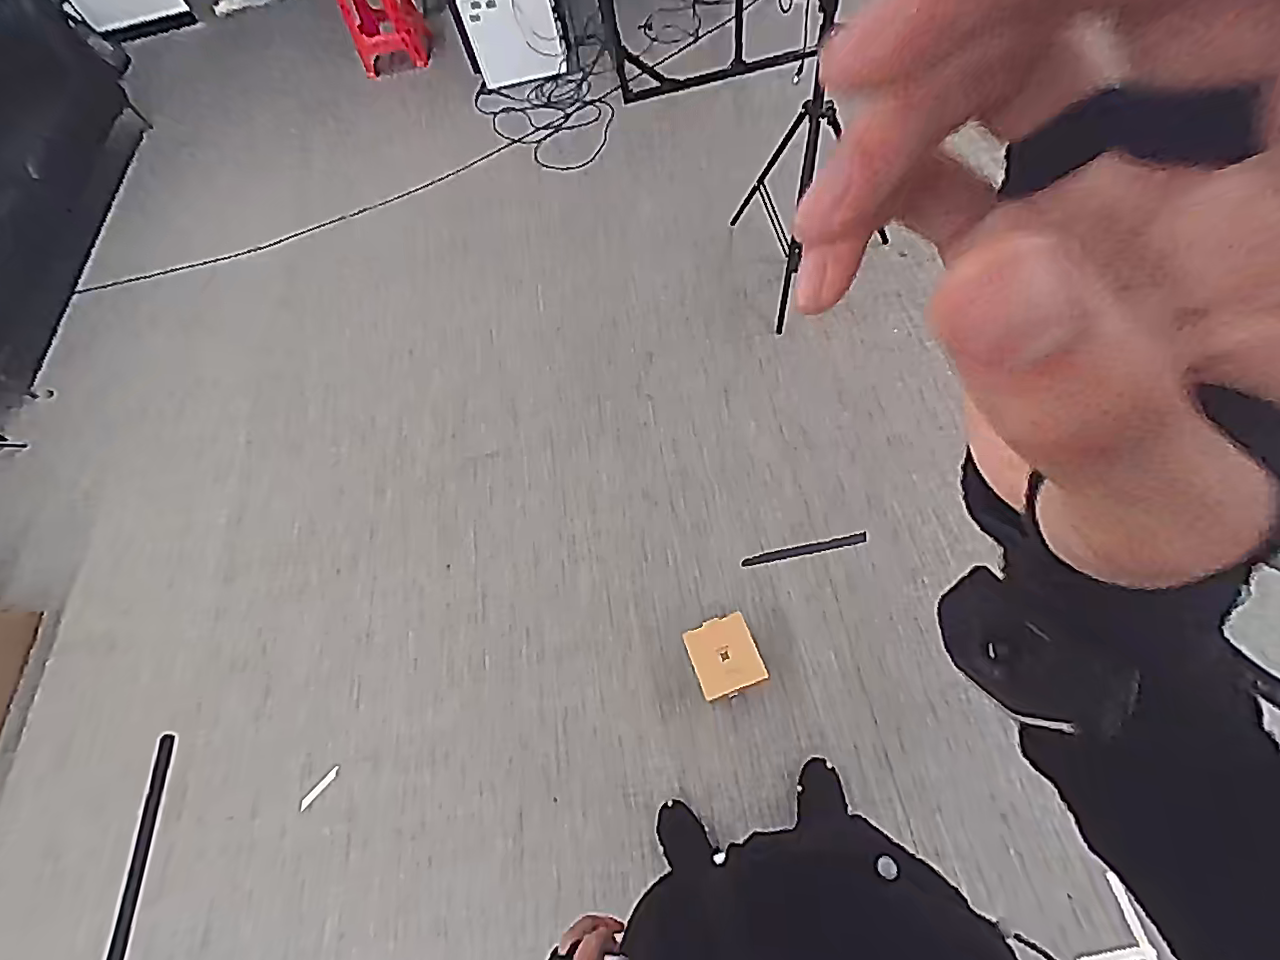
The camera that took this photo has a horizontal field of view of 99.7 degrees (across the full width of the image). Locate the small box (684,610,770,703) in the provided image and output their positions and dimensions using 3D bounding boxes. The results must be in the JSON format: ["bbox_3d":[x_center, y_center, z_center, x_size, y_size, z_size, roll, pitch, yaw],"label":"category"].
[{"bbox_3d":[0.224,0.466,1.414,0.168,0.176,0.179,-22,62,0],"label":"small box"}]
